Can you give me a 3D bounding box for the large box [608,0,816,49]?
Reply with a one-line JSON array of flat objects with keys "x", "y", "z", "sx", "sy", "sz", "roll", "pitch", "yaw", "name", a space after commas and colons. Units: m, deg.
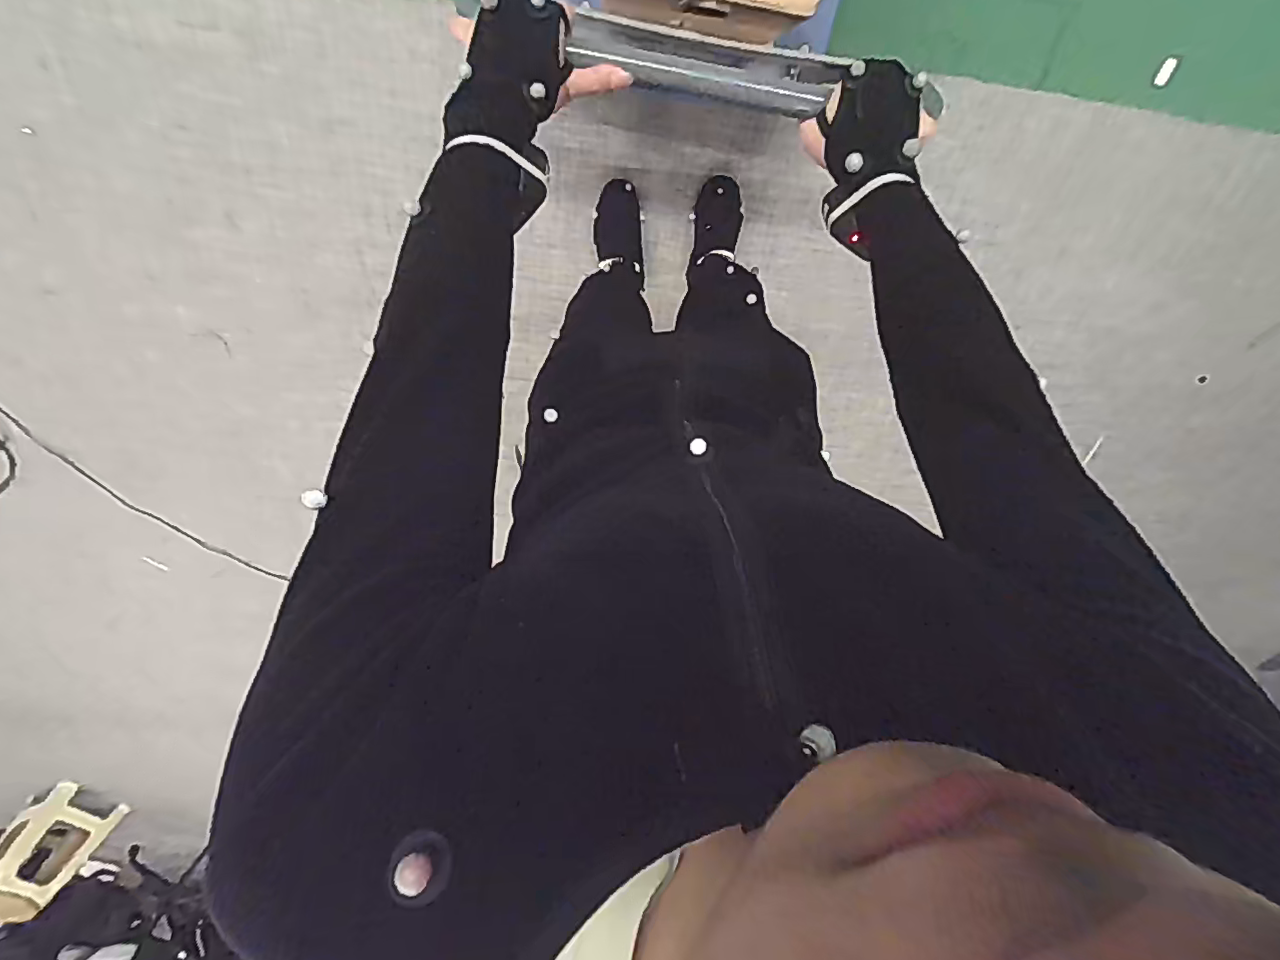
[{"x": 0.120, "y": -0.923, "z": 0.791, "sx": 0.320, "sy": 0.320, "sz": 0.408, "roll": 6, "pitch": 122, "yaw": -6, "name": "large box"}]
